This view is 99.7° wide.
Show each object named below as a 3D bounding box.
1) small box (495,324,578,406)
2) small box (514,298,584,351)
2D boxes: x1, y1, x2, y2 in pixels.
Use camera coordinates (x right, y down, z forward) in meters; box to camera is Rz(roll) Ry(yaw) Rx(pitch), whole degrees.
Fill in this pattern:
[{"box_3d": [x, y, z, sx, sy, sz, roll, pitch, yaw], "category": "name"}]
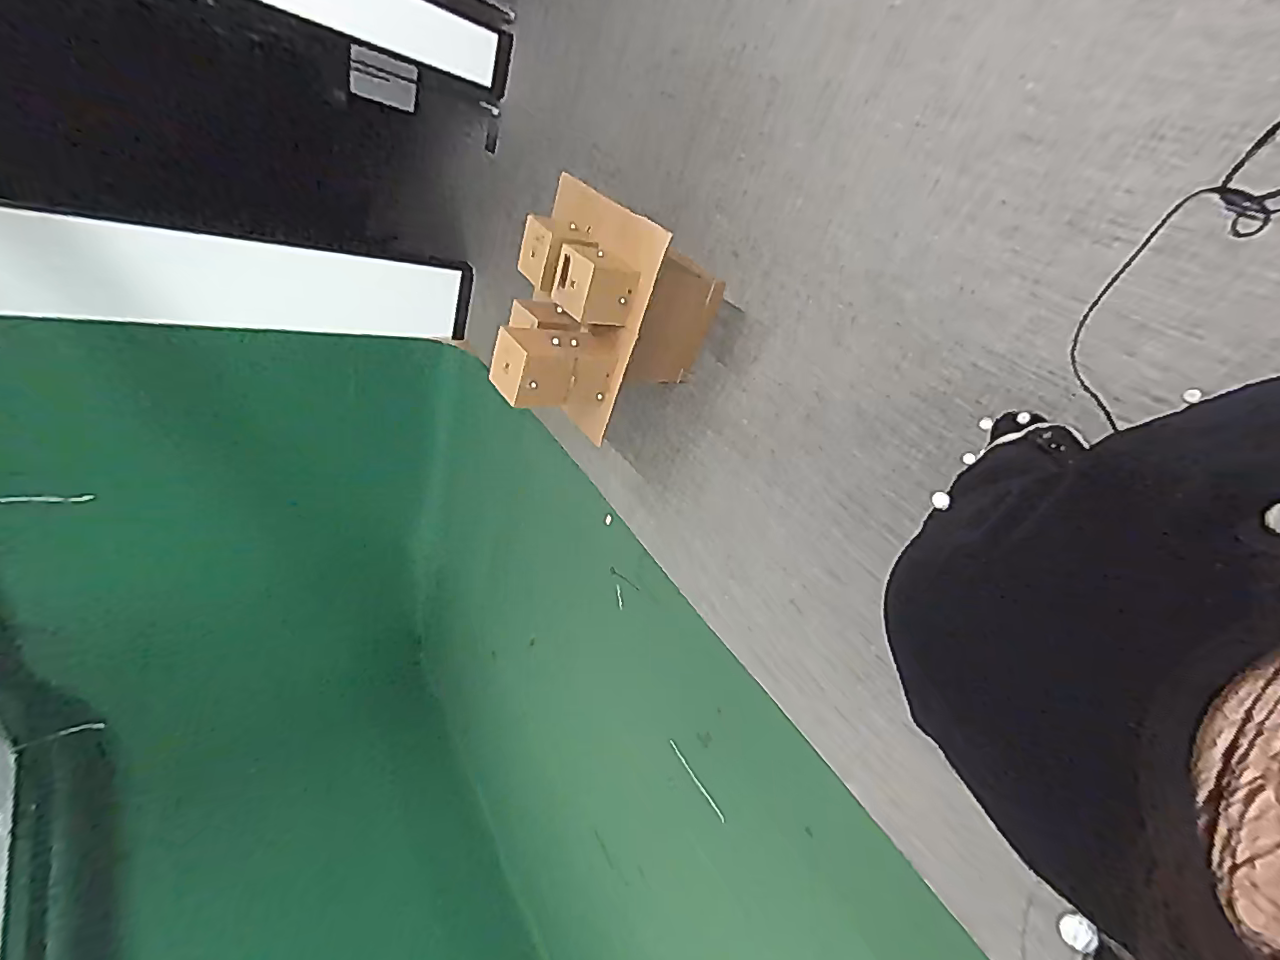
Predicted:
[{"box_3d": [-0.304, -0.336, 1.594, 0.168, 0.176, 0.179, 48, 129, 32], "category": "small box"}, {"box_3d": [-0.315, -0.498, 1.833, 0.179, 0.176, 0.168, 47, 130, 36], "category": "small box"}]
